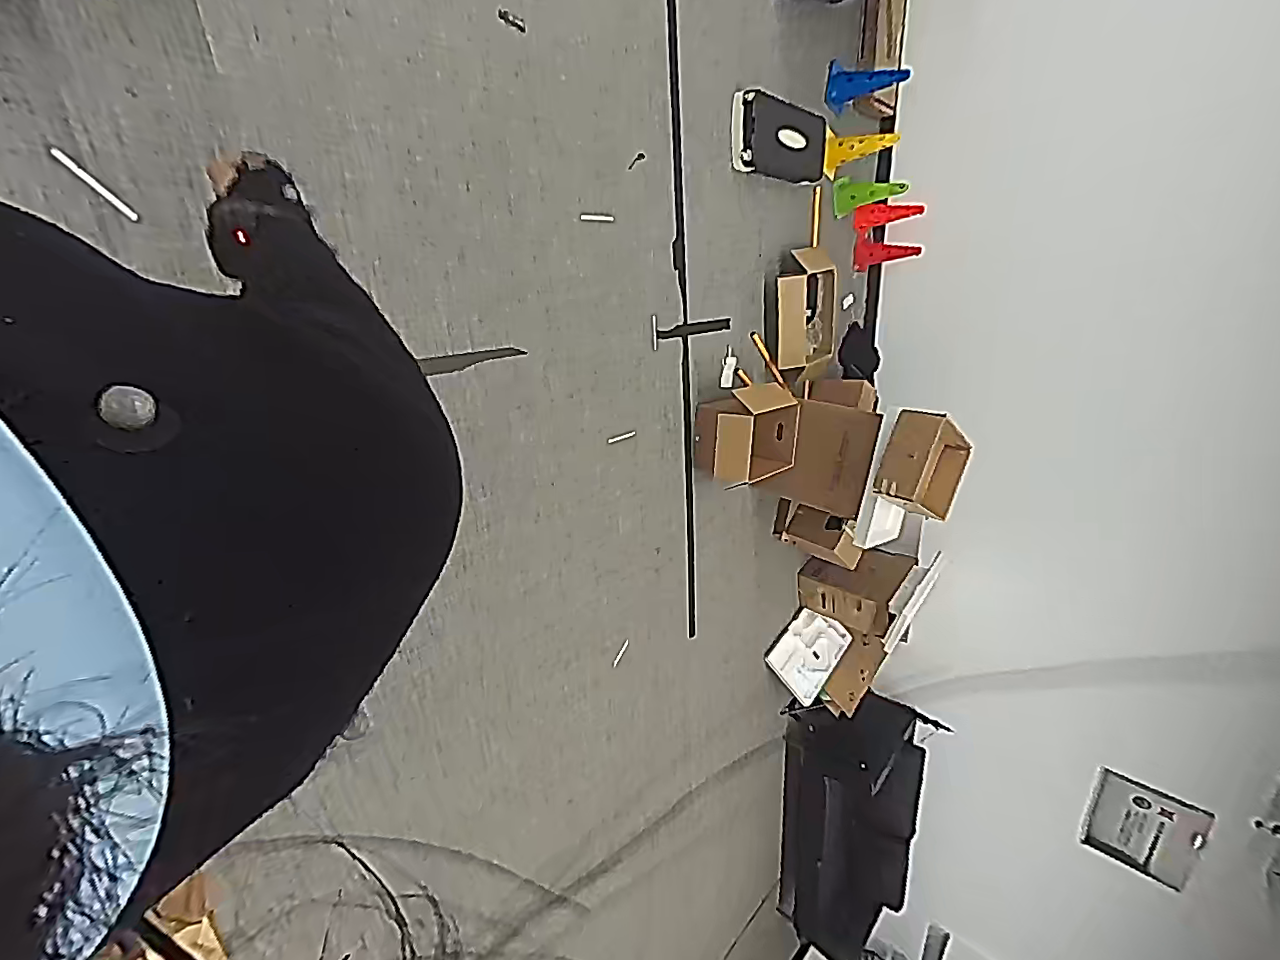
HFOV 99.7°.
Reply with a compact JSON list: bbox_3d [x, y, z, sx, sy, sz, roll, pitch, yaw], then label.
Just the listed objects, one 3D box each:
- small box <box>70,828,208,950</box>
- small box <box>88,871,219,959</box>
[{"bbox_3d":[-1.139,0.946,1.233,0.168,0.176,0.179,-37,127,-37],"label":"small box"},{"bbox_3d":[-1.015,0.984,1.134,0.168,0.176,0.179,-23,118,-43],"label":"small box"}]
